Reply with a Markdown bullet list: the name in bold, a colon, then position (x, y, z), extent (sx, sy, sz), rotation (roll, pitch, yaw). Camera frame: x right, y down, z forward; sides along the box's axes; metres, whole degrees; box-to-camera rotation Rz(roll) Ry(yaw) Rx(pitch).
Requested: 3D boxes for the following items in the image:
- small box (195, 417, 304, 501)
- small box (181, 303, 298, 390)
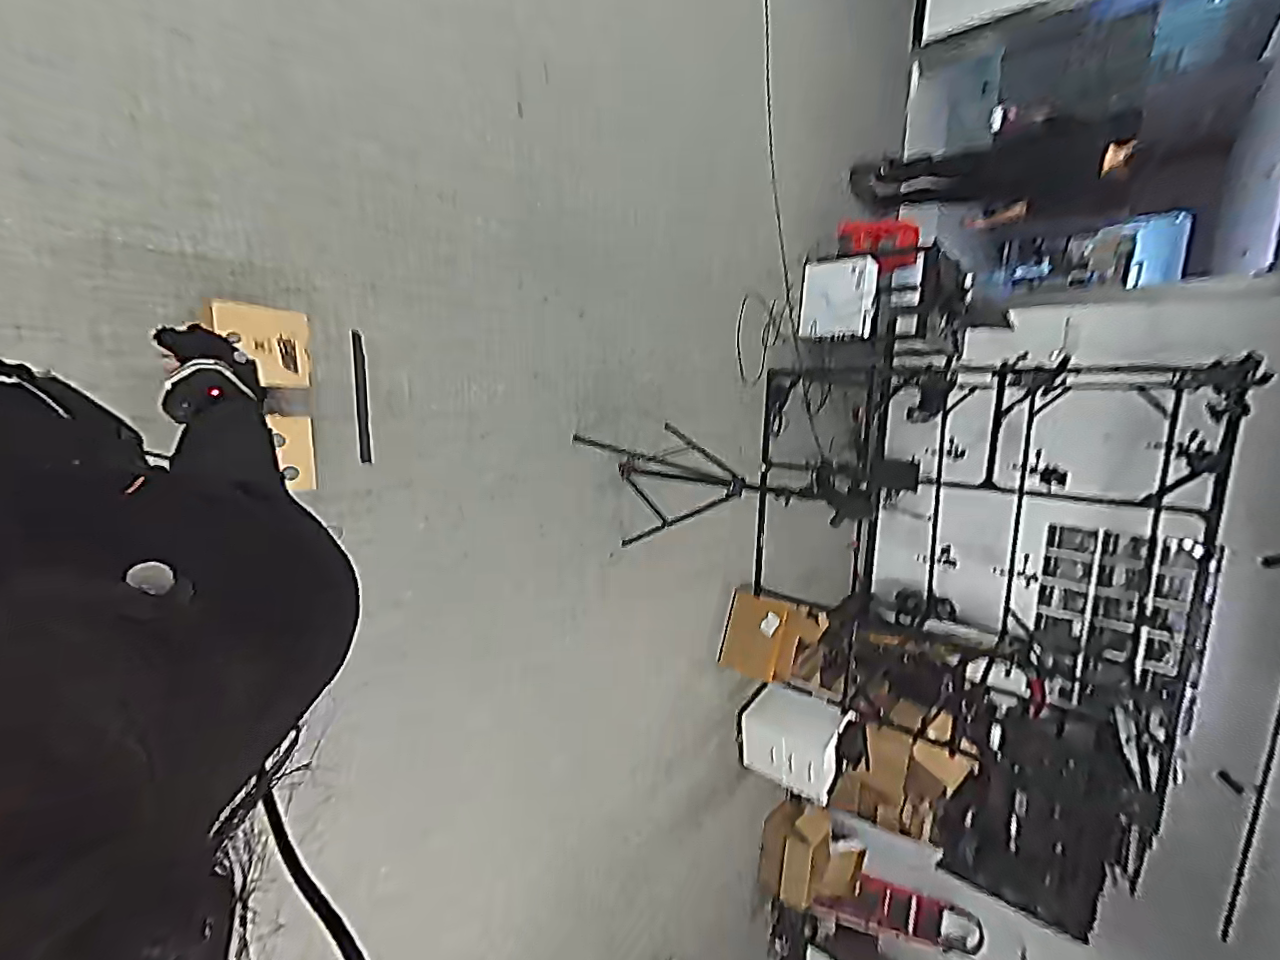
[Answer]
- **small box**: position (-0.906, -0.057, 1.253), extent (0.168, 0.176, 0.179), rotation (-9, 105, -49)
- **small box**: position (-0.899, -0.293, 1.215), extent (0.179, 0.176, 0.168), rotation (-4, 100, -50)
